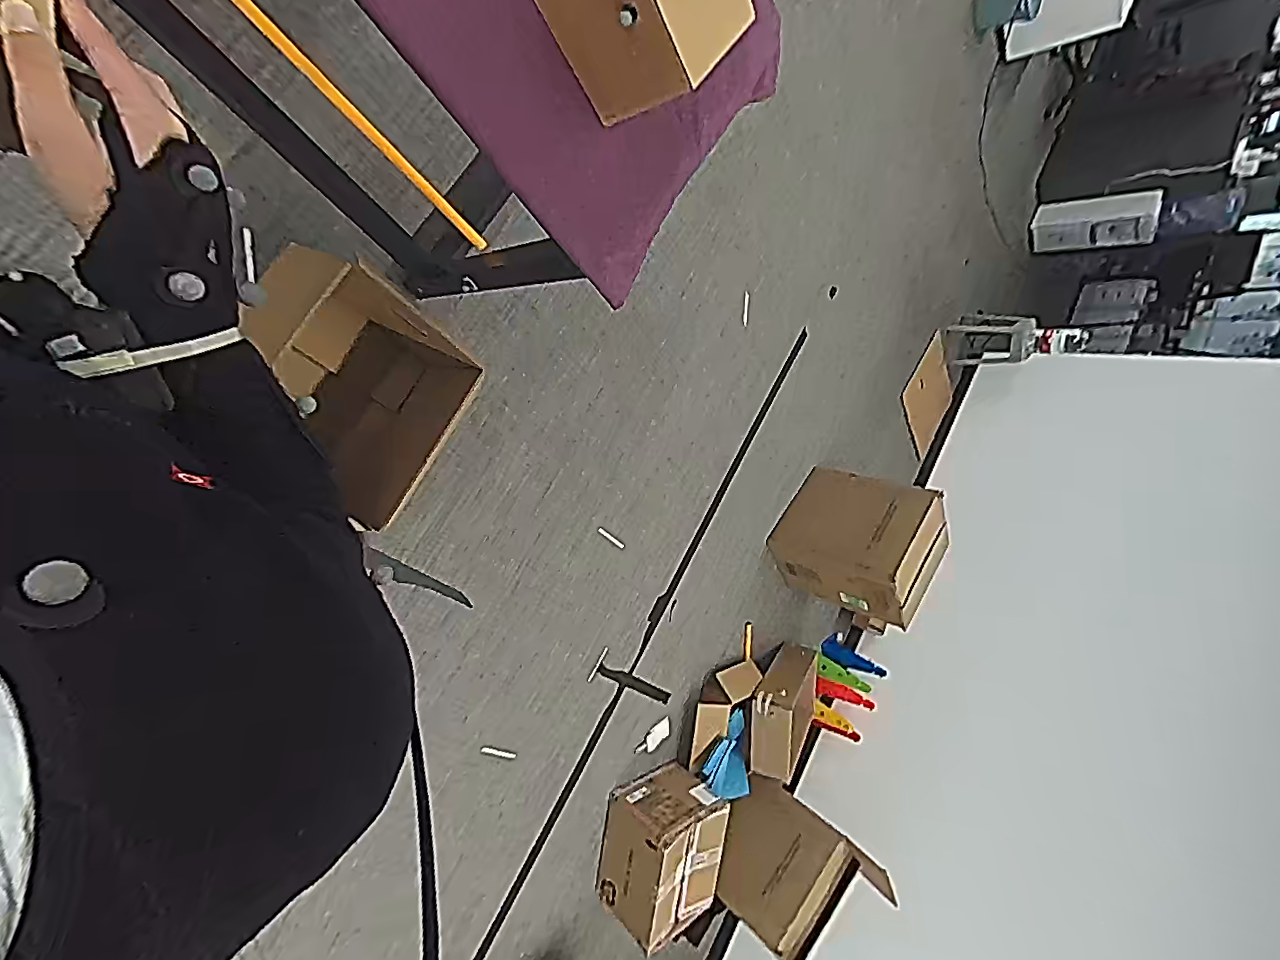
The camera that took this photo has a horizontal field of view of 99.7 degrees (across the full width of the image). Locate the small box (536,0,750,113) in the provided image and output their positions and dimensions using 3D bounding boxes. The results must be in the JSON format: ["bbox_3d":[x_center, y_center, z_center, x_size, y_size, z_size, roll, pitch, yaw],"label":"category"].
[{"bbox_3d":[0.002,-0.595,0.673,0.168,0.176,0.179,-57,132,-18],"label":"small box"}]

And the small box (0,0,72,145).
[{"bbox_3d":[-0.392,-0.296,0.246,0.168,0.176,0.179,-7,100,-49],"label":"small box"}]
